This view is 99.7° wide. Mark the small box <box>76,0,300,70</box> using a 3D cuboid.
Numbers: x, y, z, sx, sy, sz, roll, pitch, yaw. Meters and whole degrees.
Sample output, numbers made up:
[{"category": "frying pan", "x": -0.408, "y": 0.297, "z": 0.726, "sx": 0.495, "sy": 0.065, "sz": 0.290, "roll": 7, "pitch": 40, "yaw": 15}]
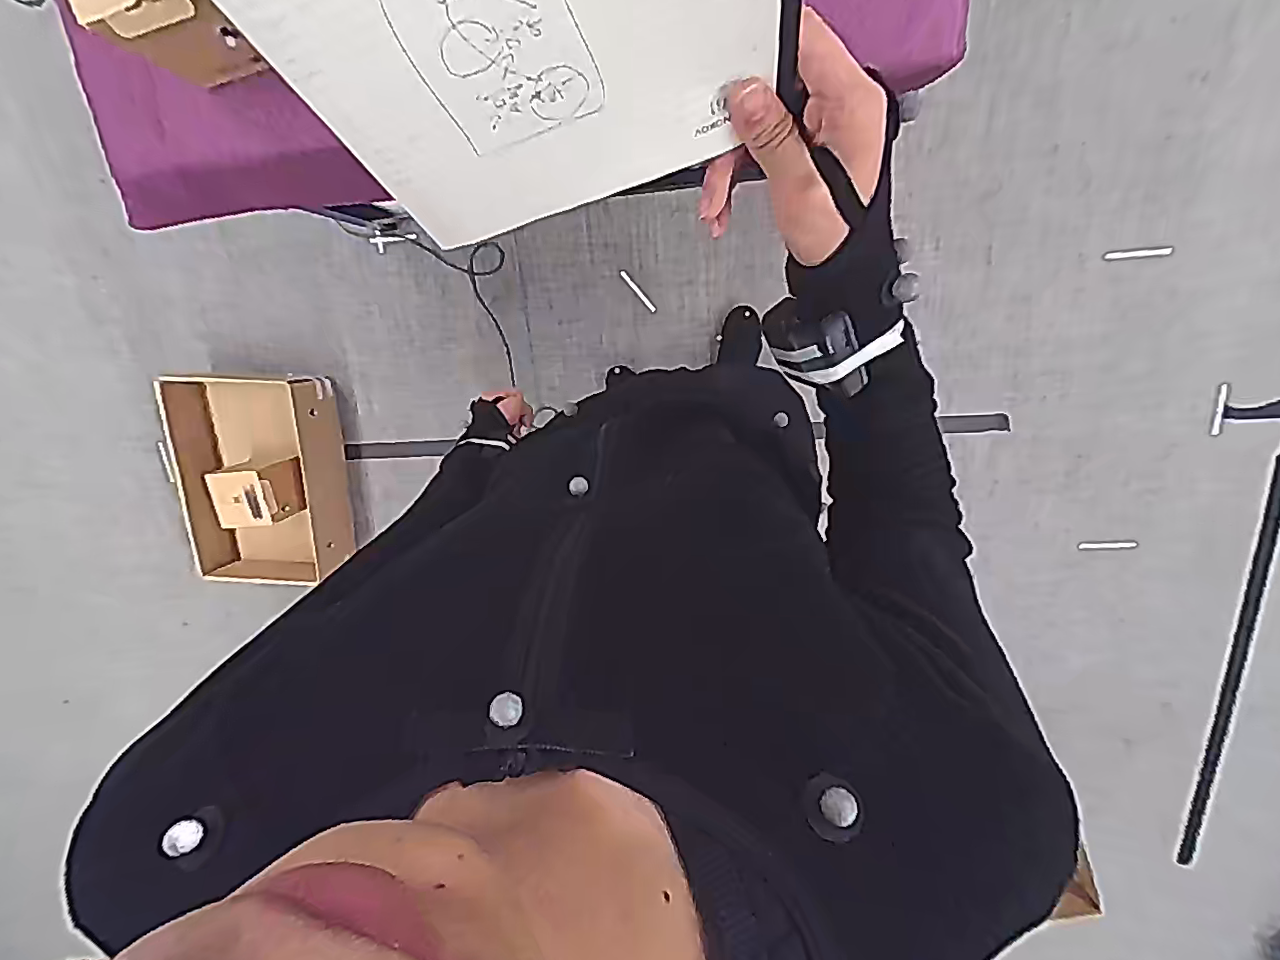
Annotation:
[{"category": "small box", "x": -0.560, "y": -0.637, "z": 0.655, "sx": 0.168, "sy": 0.176, "sz": 0.179, "roll": -11, "pitch": 105, "yaw": 8}]
